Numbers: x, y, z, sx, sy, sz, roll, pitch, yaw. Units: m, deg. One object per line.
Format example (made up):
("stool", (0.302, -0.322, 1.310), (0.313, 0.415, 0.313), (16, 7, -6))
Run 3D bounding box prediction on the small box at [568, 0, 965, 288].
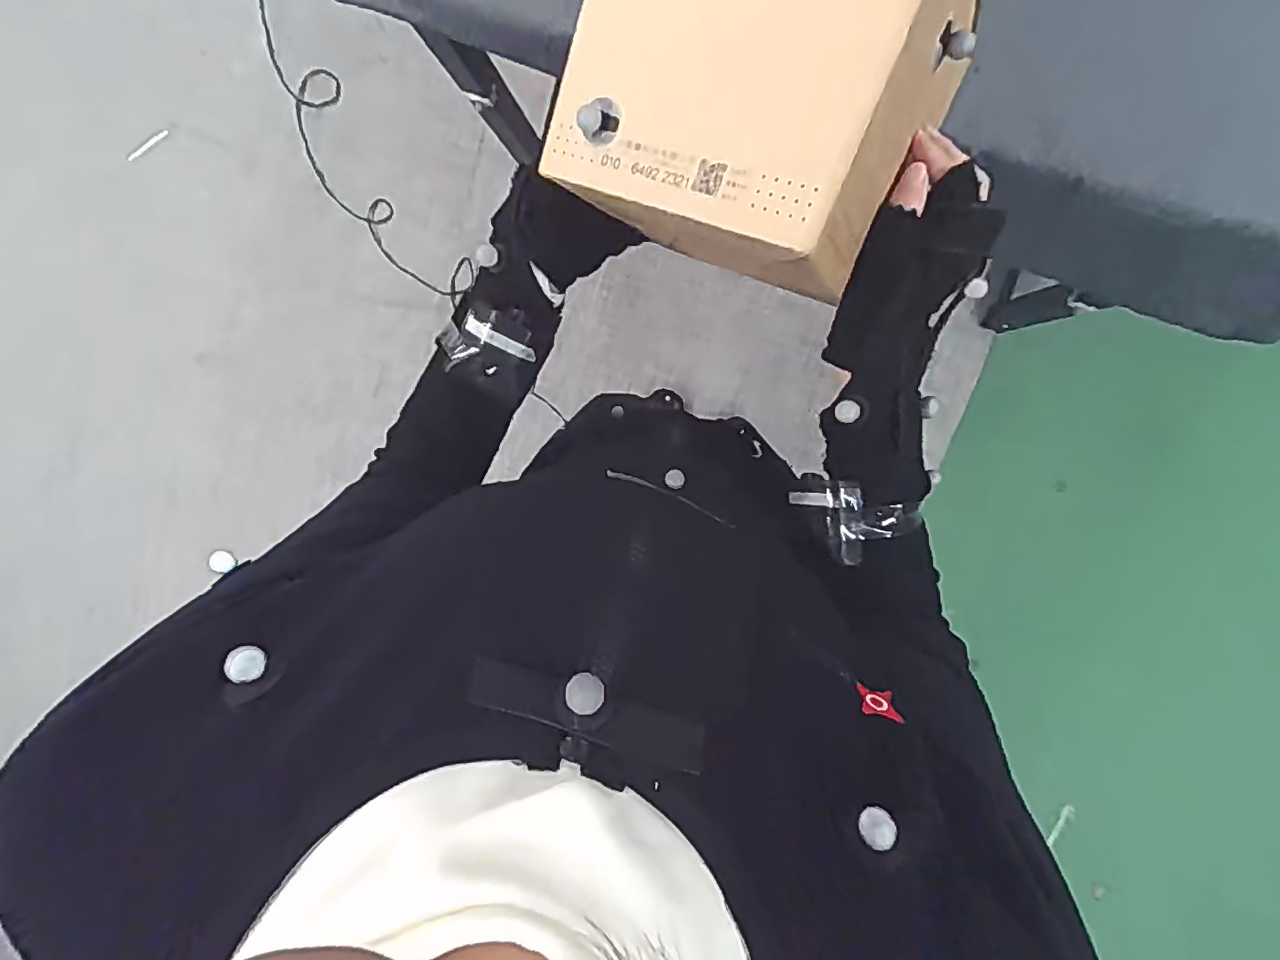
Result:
("small box", (0.075, -0.233, 0.333), (0.168, 0.179, 0.176), (29, 109, 21))
